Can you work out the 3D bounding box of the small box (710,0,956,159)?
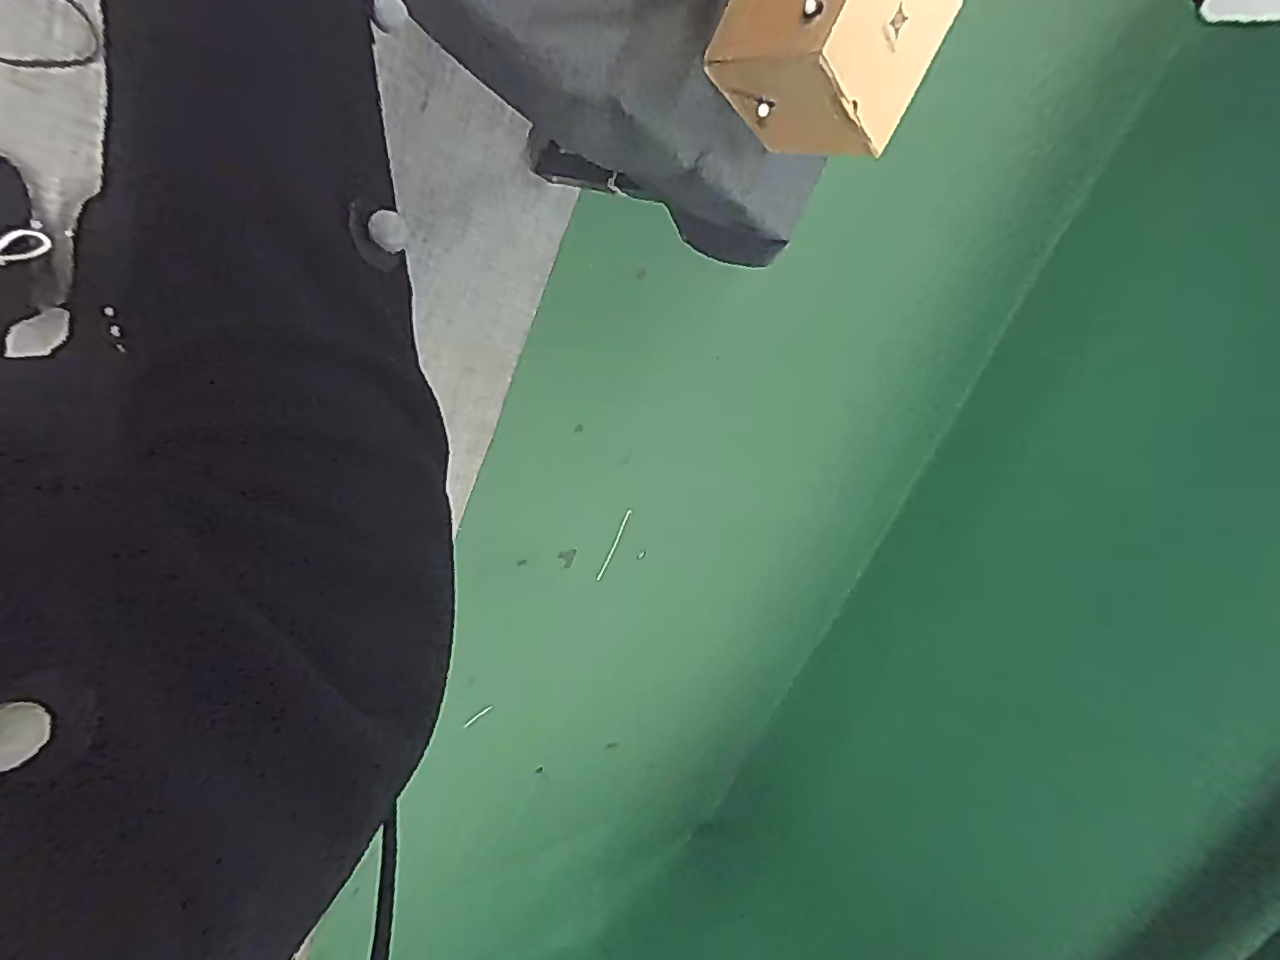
[{"bbox_3d":[0.208,-0.497,0.603,0.168,0.176,0.179,14,108,-47],"label":"small box"}]
